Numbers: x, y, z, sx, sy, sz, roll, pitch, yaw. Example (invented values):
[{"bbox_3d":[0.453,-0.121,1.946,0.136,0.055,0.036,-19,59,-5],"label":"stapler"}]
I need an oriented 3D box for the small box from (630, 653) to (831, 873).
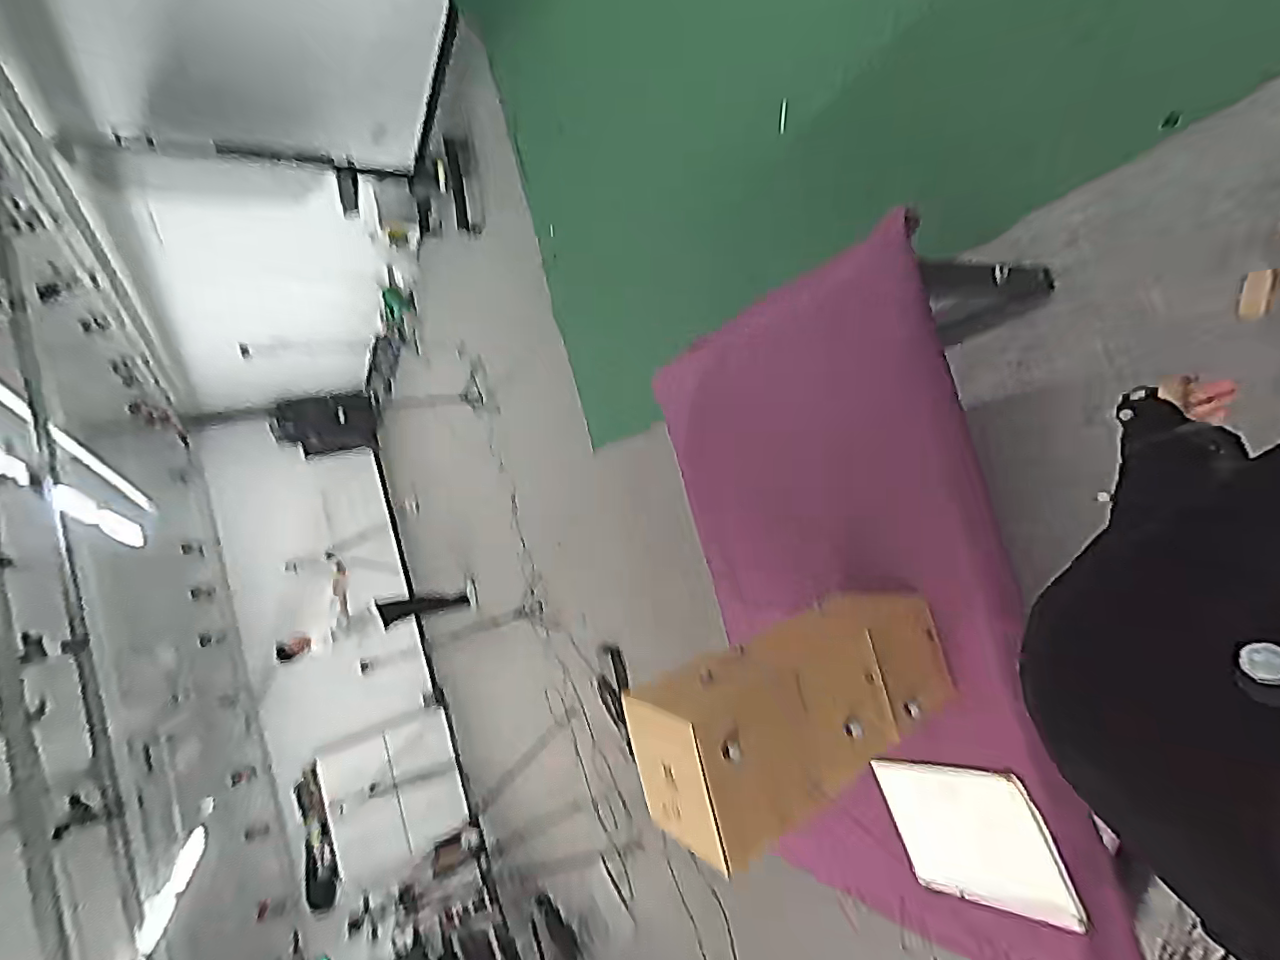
[{"bbox_3d":[0.115,0.341,0.700,0.168,0.176,0.179,-17,88,59],"label":"small box"}]

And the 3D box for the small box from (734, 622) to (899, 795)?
[{"bbox_3d":[0.250,0.317,0.793,0.179,0.176,0.168,-21,84,58],"label":"small box"}]
